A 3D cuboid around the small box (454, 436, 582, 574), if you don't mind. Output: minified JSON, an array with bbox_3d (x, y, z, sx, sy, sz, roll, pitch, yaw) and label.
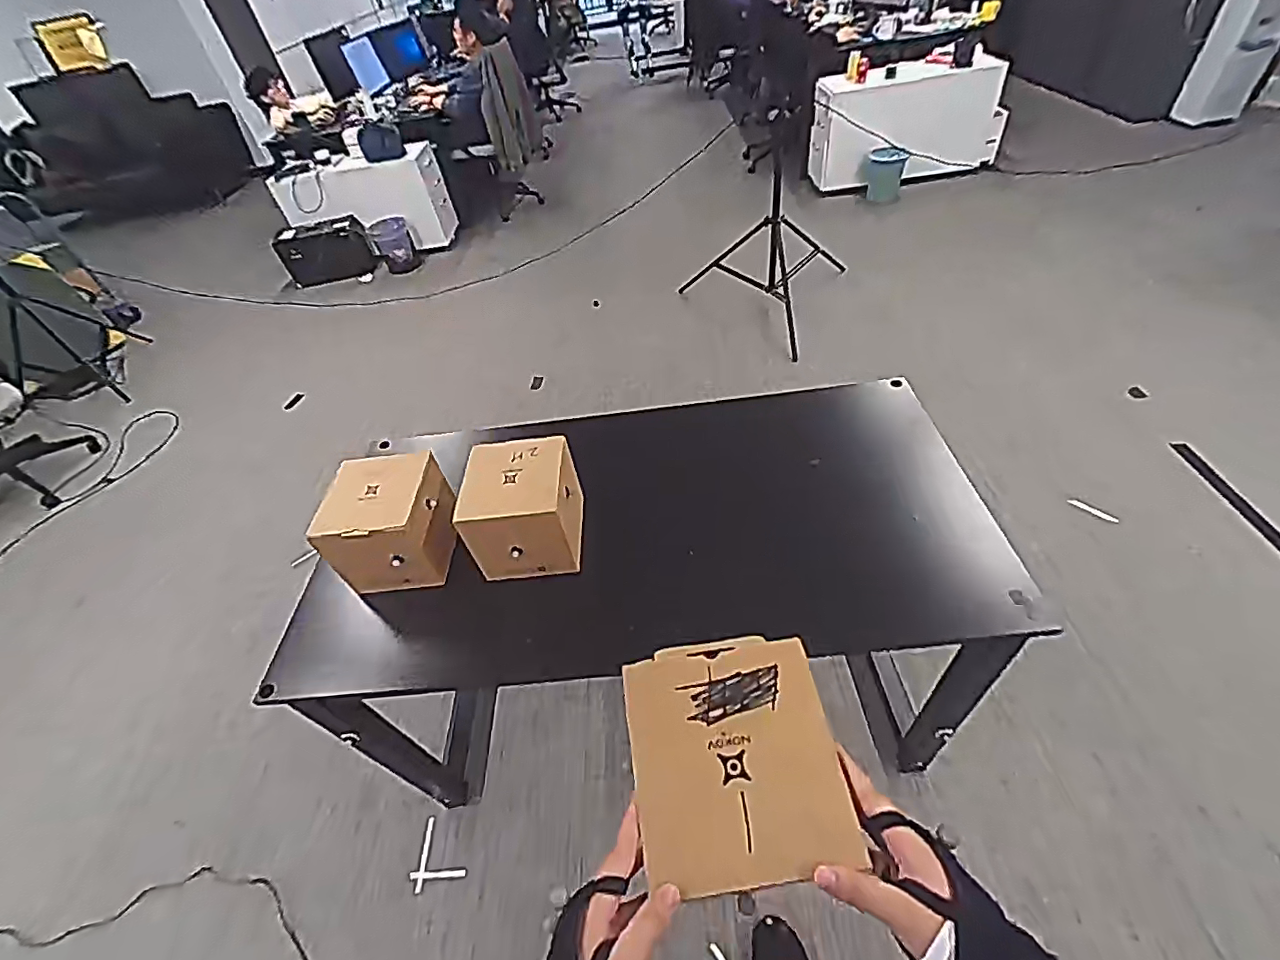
[{"bbox_3d":[-0.198,0.050,0.937,0.168,0.176,0.179,-6,46,4],"label":"small box"}]

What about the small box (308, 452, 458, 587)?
[{"bbox_3d":[-0.435,0.077,0.957,0.168,0.176,0.179,-6,45,3],"label":"small box"}]

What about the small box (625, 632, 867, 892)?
[{"bbox_3d":[0.081,0.266,0.504,0.168,0.176,0.179,-9,53,0],"label":"small box"}]
